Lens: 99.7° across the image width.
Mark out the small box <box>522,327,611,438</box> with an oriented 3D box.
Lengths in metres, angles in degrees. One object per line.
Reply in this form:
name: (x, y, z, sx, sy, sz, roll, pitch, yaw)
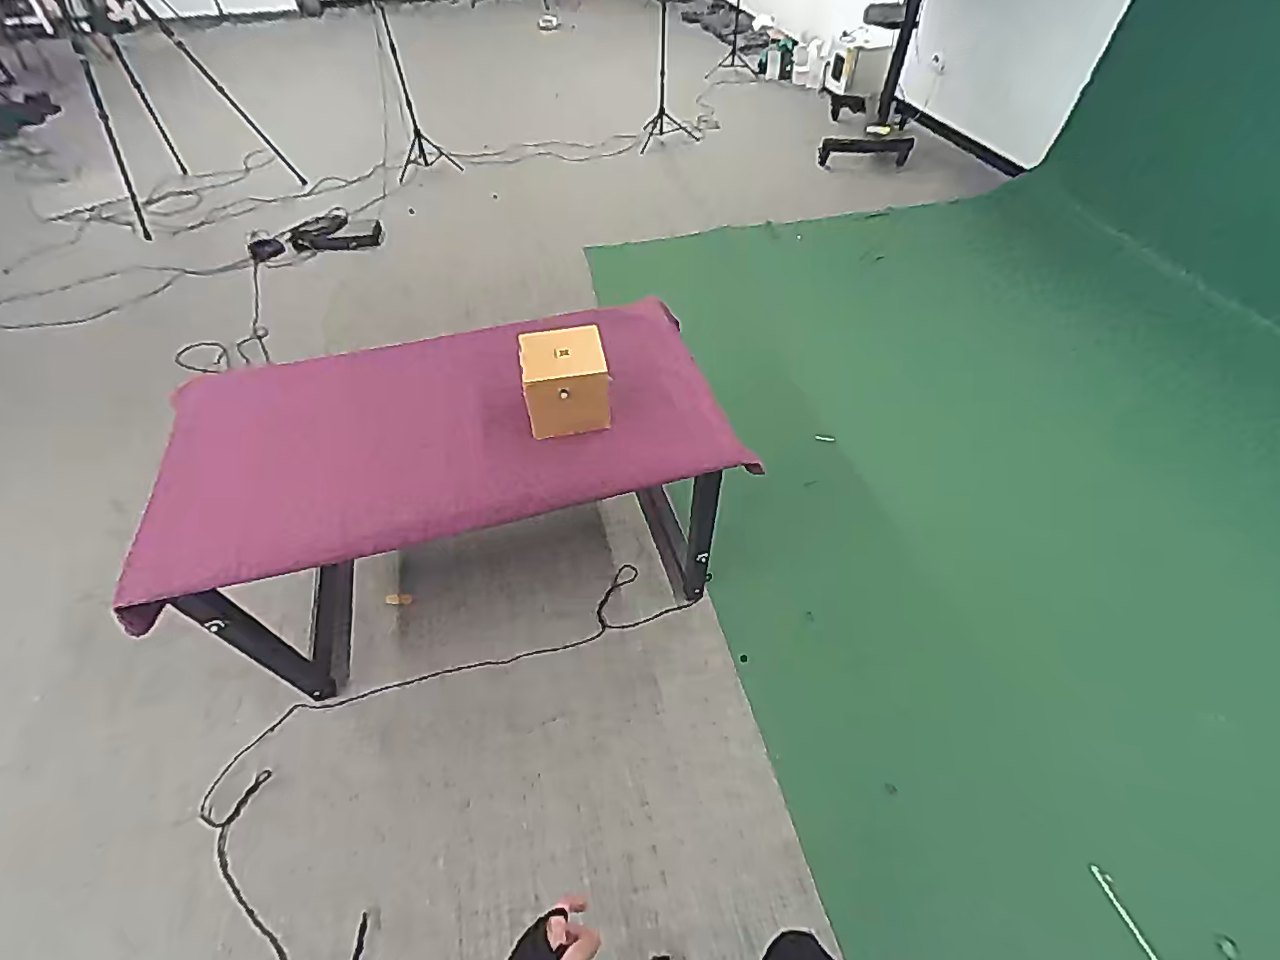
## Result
small box: (-0.159, -0.214, 1.202, 0.179, 0.176, 0.168, -9, 52, -6)
